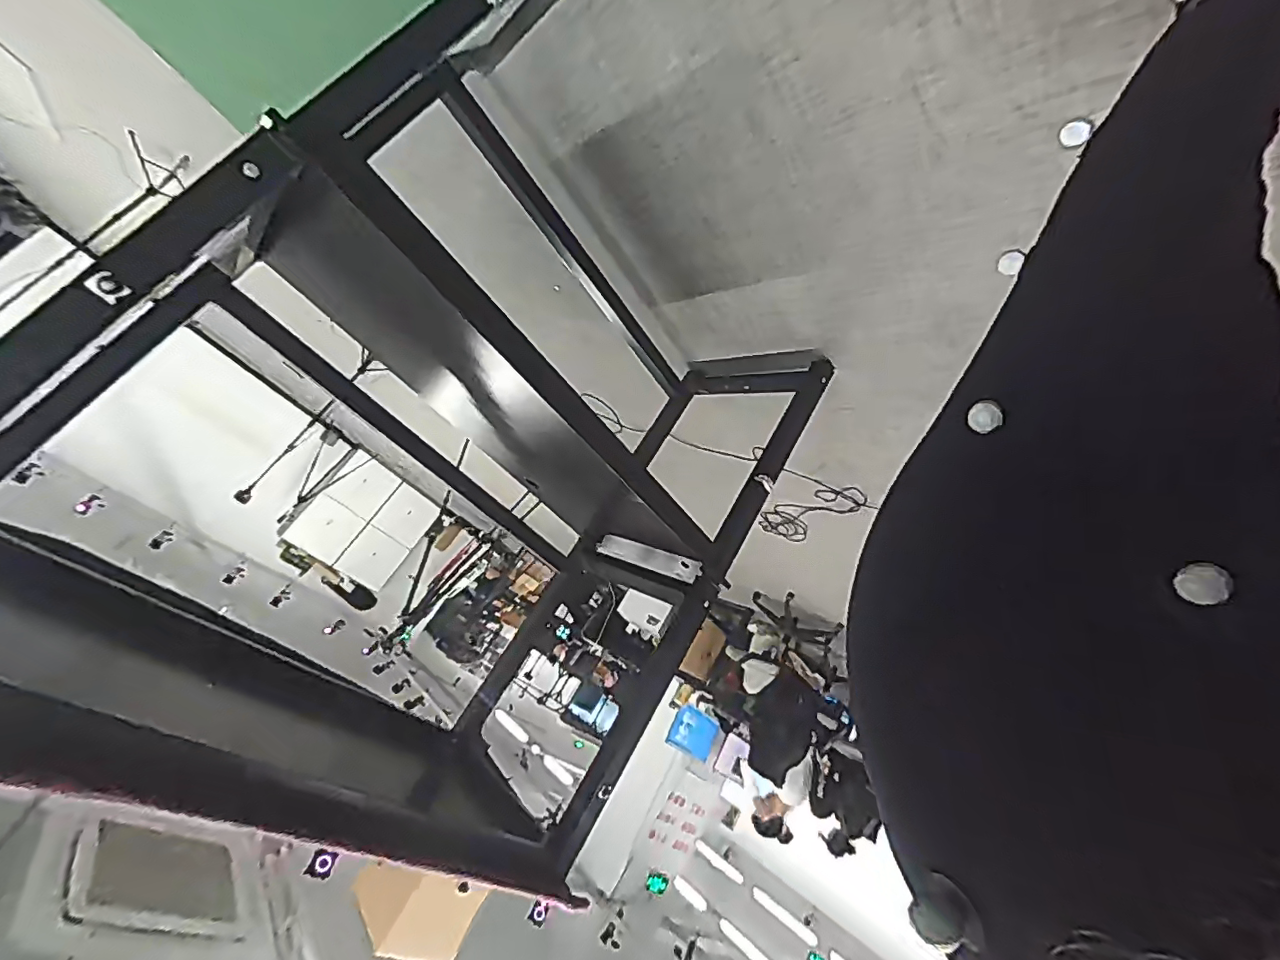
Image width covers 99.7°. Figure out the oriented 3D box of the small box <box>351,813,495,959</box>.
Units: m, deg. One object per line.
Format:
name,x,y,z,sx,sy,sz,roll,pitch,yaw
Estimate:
small box,-0.408,0.766,1.028,0.179,0.176,0.168,4,147,52
